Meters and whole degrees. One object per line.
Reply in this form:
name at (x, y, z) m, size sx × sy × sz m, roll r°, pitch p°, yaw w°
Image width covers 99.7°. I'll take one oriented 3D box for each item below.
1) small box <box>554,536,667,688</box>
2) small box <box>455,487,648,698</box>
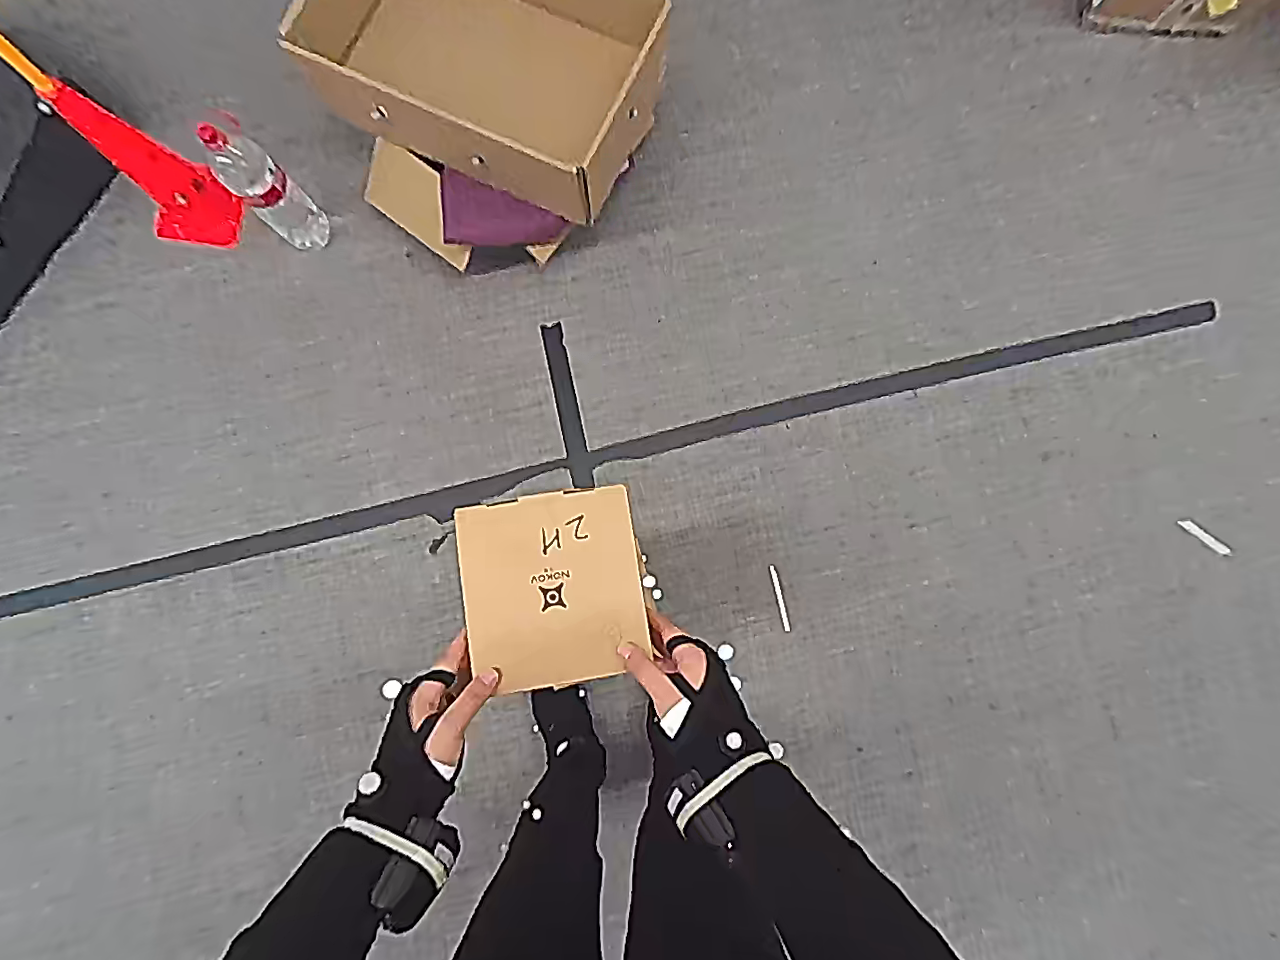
small box at (-0.066, 0.192, 0.831) m, size 0.168 × 0.176 × 0.179 m, roll -16°, pitch 84°, yaw -3°
small box at (-0.086, 0.115, 0.586) m, size 0.168 × 0.176 × 0.179 m, roll -9°, pitch 80°, yaw -4°
